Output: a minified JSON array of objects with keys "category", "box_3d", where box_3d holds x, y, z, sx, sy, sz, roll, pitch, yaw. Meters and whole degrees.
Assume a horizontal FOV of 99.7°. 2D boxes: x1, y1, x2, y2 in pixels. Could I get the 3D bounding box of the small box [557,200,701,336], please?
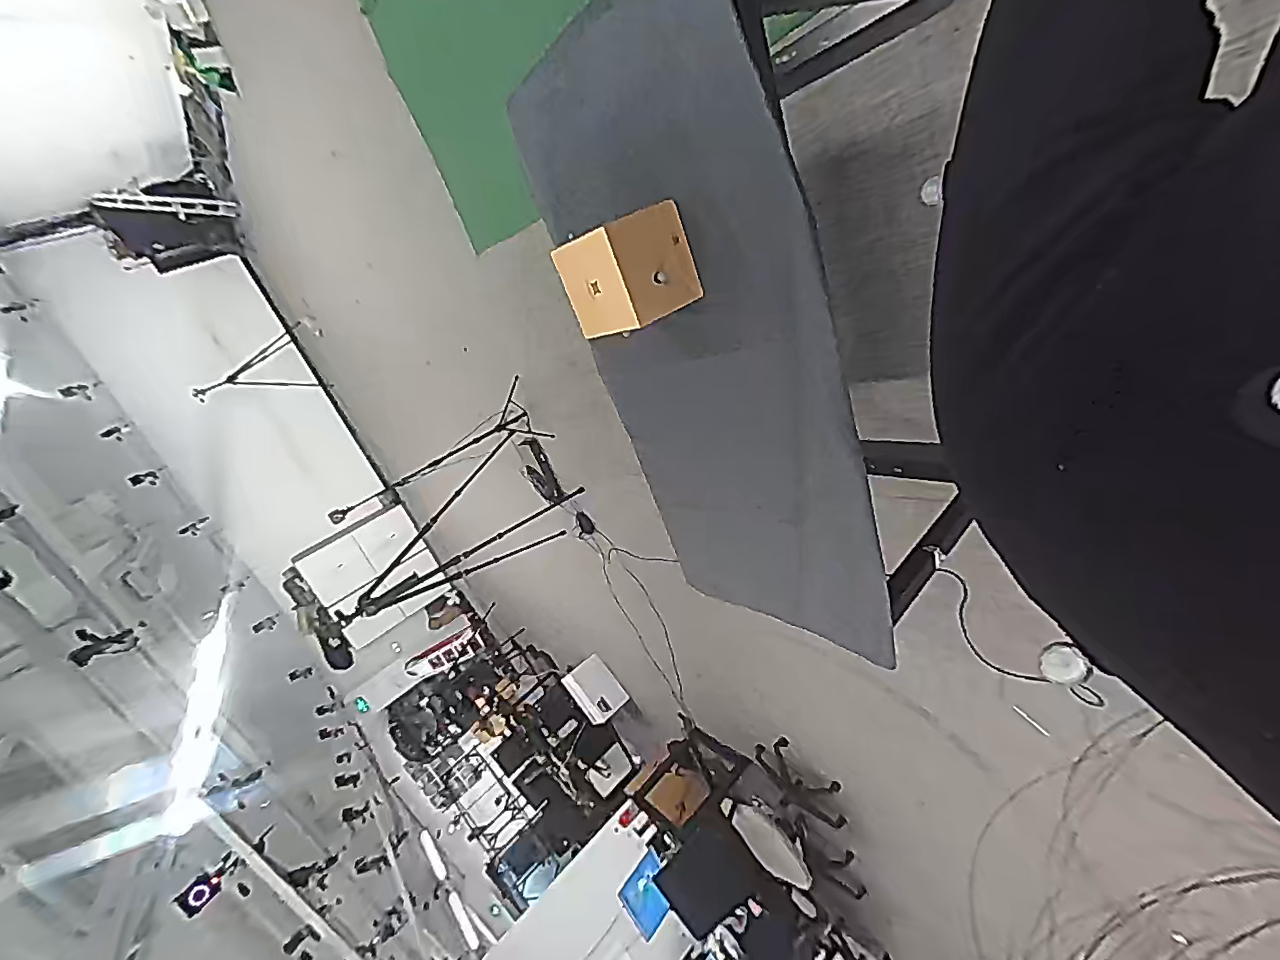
[{"category":"small box","box_3d":[-0.012,-0.376,0.970,0.179,0.176,0.168,9,129,53]}]
